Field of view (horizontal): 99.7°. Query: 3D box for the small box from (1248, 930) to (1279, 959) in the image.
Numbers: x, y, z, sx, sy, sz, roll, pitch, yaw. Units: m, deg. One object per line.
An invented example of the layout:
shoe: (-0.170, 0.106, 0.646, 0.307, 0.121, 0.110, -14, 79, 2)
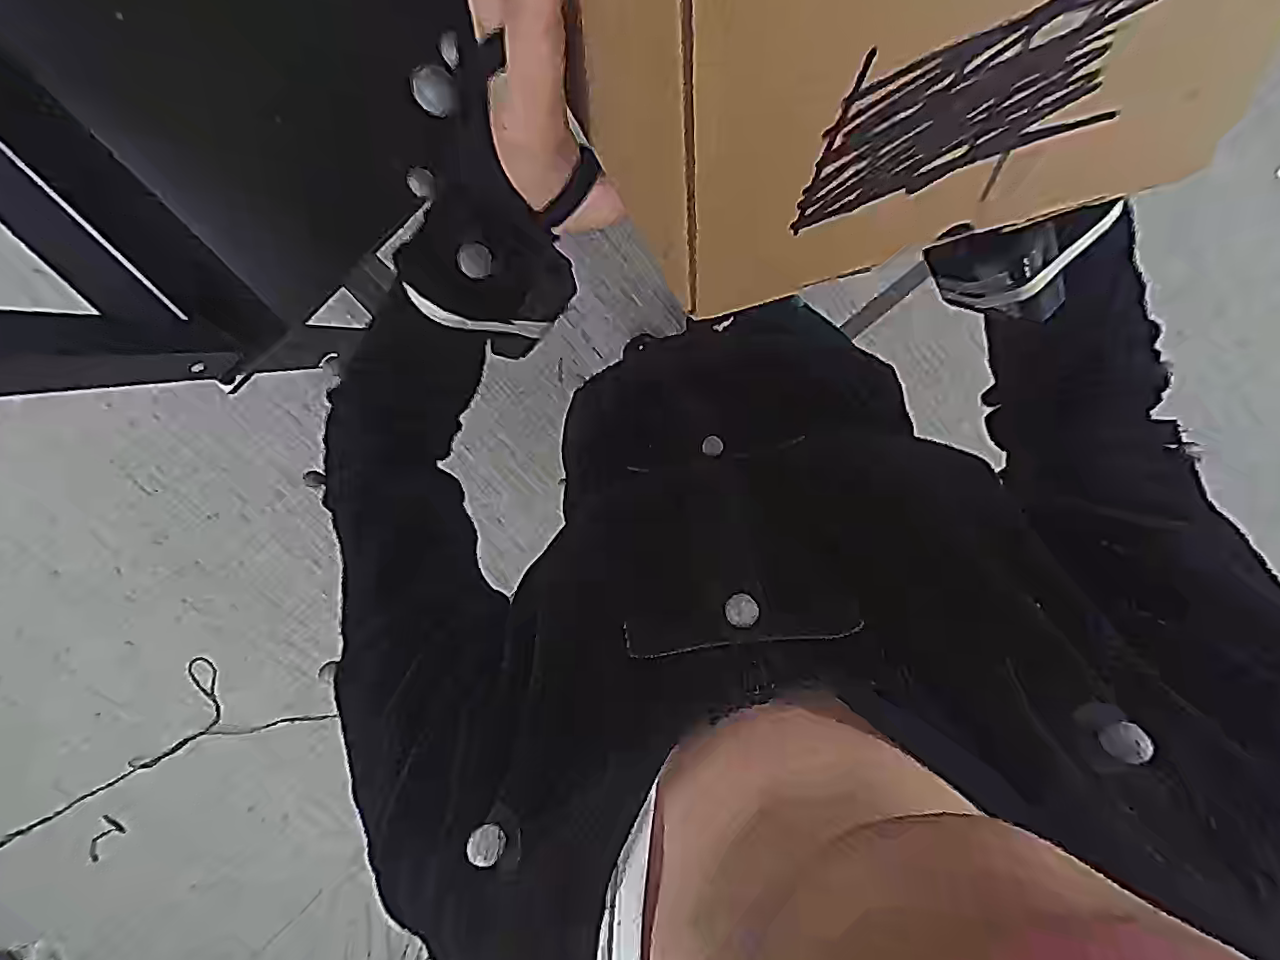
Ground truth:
small box: (1.409, 1.039, 1.090, 0.168, 0.176, 0.179, -36, 103, 7)

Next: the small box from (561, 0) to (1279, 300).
small box: (0.063, -0.185, 0.140, 0.168, 0.176, 0.179, -18, 145, -5)
